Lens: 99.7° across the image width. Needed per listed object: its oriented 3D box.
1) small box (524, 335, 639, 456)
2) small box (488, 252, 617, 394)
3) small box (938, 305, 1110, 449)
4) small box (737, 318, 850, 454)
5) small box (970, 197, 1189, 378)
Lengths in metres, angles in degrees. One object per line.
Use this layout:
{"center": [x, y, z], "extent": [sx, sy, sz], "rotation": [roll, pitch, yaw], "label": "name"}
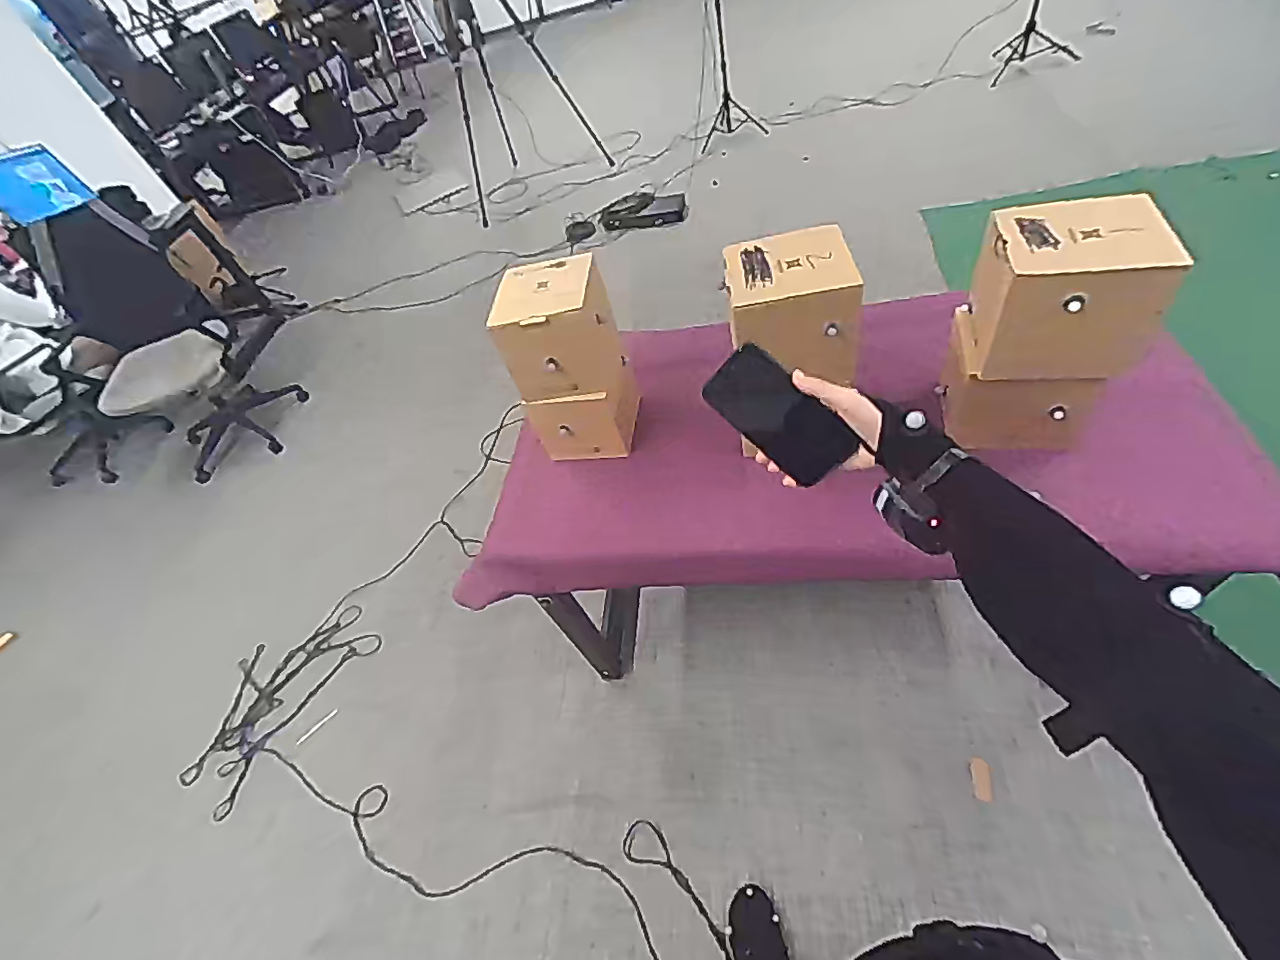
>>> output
{"center": [-0.106, -0.160, 1.076], "extent": [0.168, 0.176, 0.179], "rotation": [-2, 51, 15], "label": "small box"}
{"center": [-0.142, -0.267, 0.957], "extent": [0.168, 0.176, 0.179], "rotation": [-6, 51, 12], "label": "small box"}
{"center": [0.595, -0.163, 0.865], "extent": [0.179, 0.176, 0.168], "rotation": [2, 52, 19], "label": "small box"}
{"center": [0.268, -0.160, 0.961], "extent": [0.179, 0.176, 0.168], "rotation": [-3, 51, 15], "label": "small box"}
{"center": [0.564, -0.252, 0.731], "extent": [0.179, 0.176, 0.168], "rotation": [3, 53, 18], "label": "small box"}
